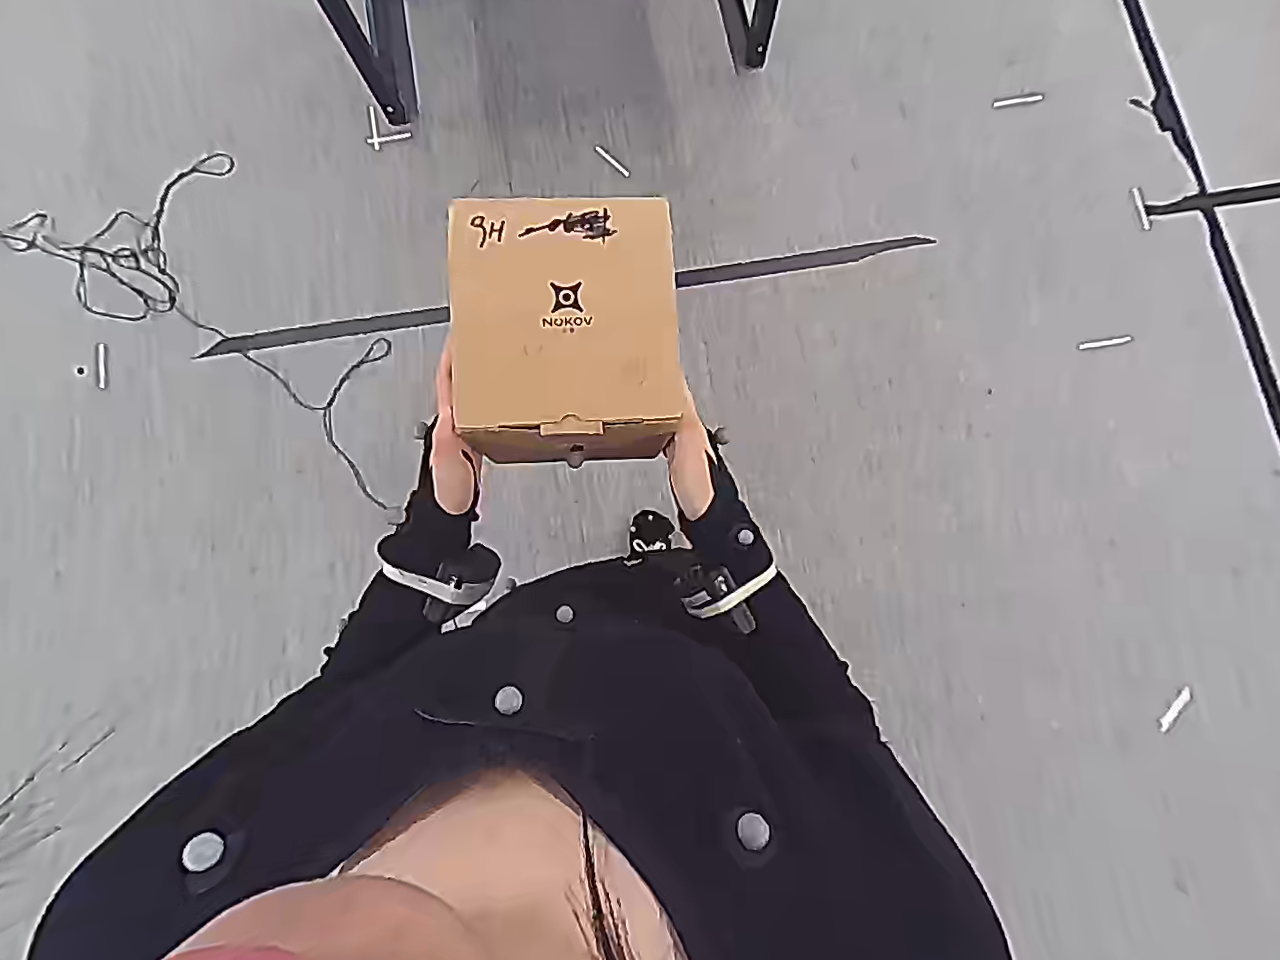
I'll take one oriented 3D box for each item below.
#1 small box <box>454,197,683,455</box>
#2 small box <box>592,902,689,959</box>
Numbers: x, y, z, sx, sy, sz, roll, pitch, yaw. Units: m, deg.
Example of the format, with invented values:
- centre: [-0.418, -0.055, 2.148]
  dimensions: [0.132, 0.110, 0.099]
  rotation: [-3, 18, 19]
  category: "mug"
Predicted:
- centre: [-0.057, -0.117, 0.476]
  dimensions: [0.168, 0.176, 0.179]
  rotation: [-3, 85, -5]
  category: "small box"
- centre: [0.007, 0.938, 1.016]
  dimensions: [0.179, 0.176, 0.168]
  rotation: [-11, 81, 0]
  category: "small box"
